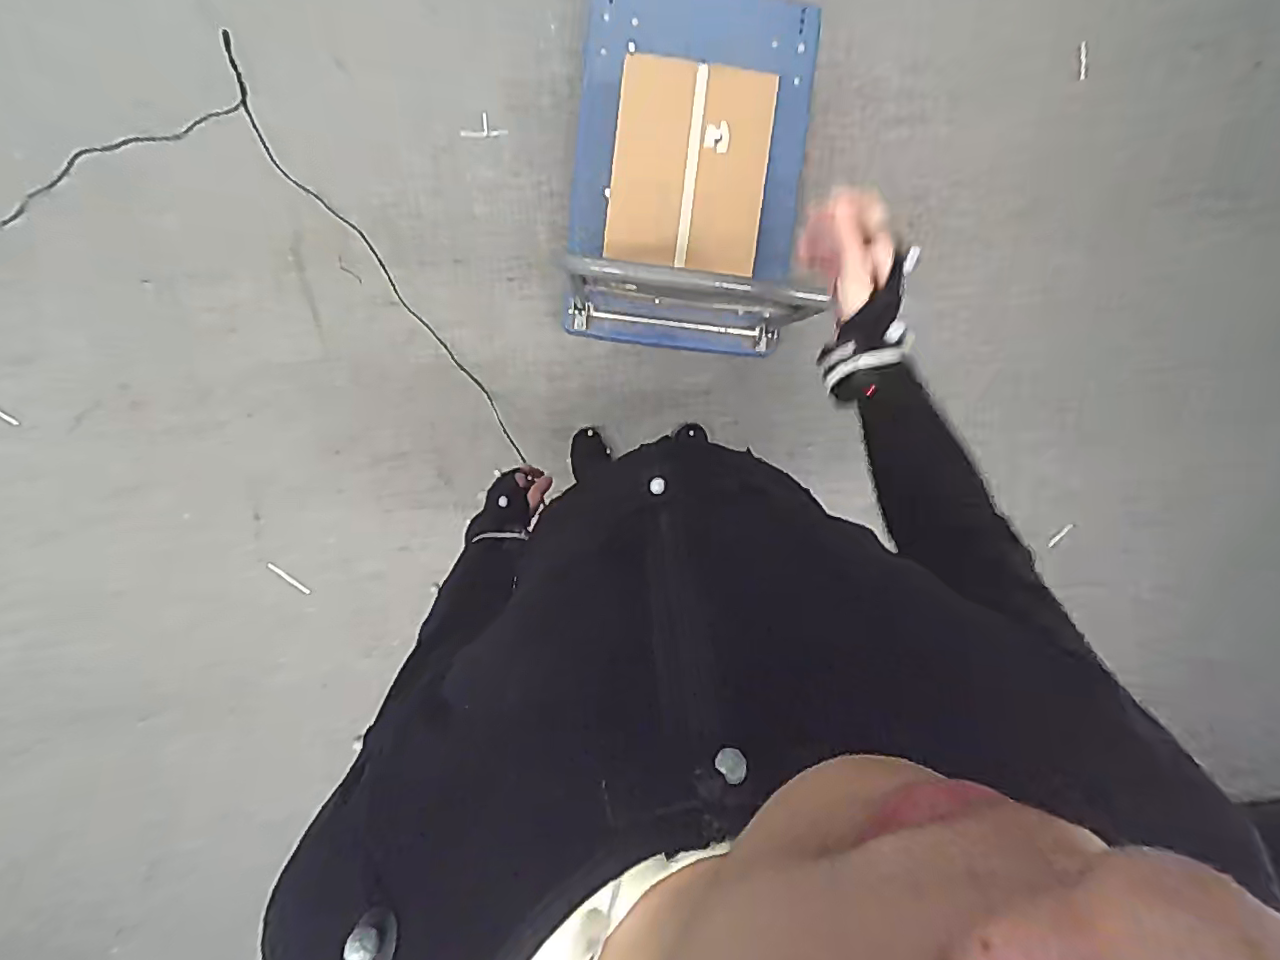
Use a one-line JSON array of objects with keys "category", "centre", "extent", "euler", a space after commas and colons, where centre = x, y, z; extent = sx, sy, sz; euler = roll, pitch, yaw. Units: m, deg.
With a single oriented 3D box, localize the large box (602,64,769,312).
[{"category": "large box", "centre": [0.087, -0.637, 1.257], "extent": [0.320, 0.320, 0.408], "euler": [6, 94, -4]}]
